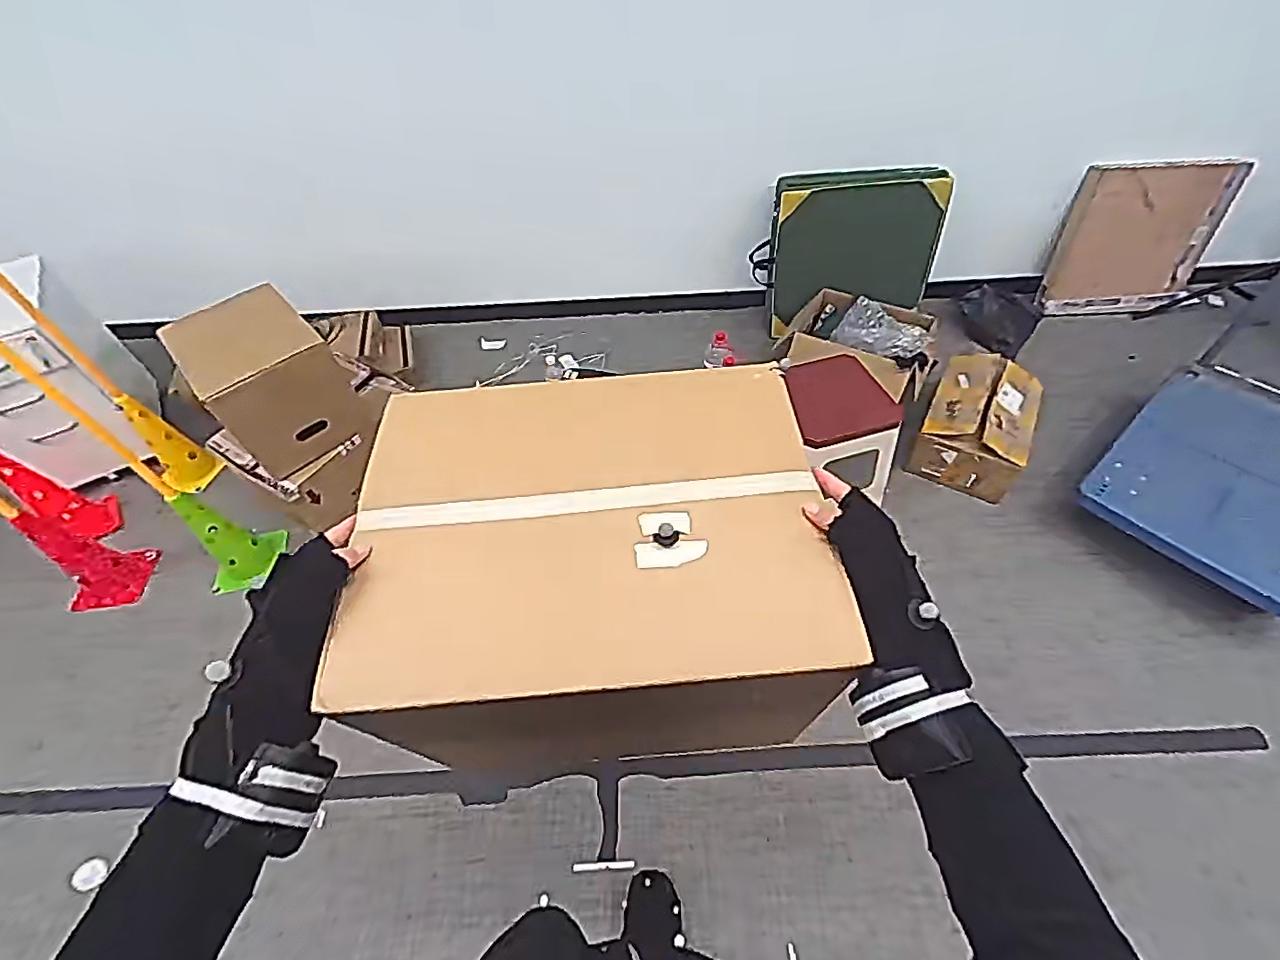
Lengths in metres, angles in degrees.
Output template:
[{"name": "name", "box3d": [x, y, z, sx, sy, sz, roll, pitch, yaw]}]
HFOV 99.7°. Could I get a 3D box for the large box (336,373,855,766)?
[{"name": "large box", "box3d": [-0.040, 0.112, 0.612, 0.408, 0.320, 0.320, -5, 55, -1]}]
